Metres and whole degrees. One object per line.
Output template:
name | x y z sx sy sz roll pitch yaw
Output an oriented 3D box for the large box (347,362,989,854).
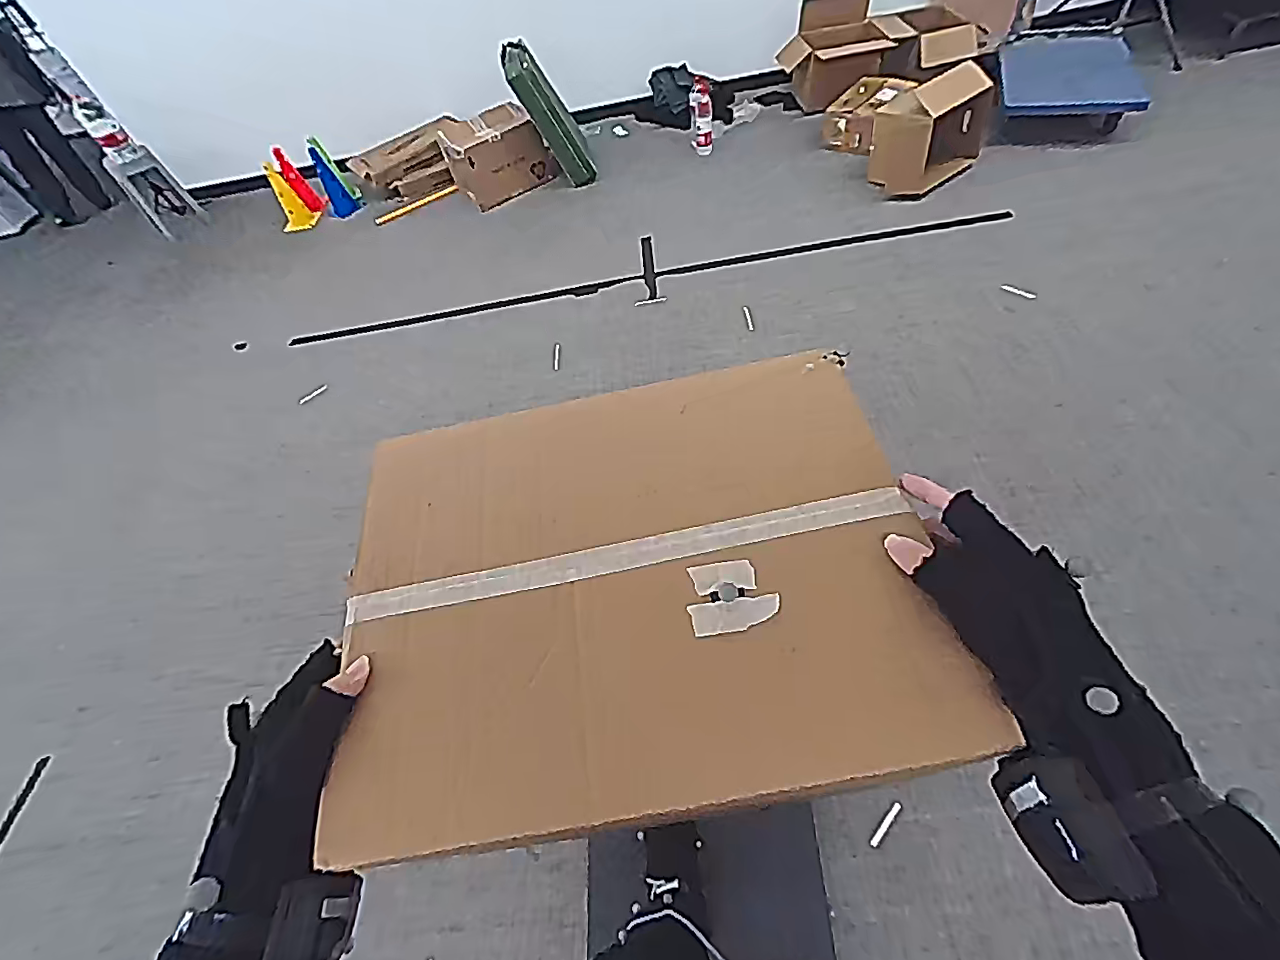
large box | 0.011 0.139 0.527 0.408 0.320 0.320 -11 57 2
